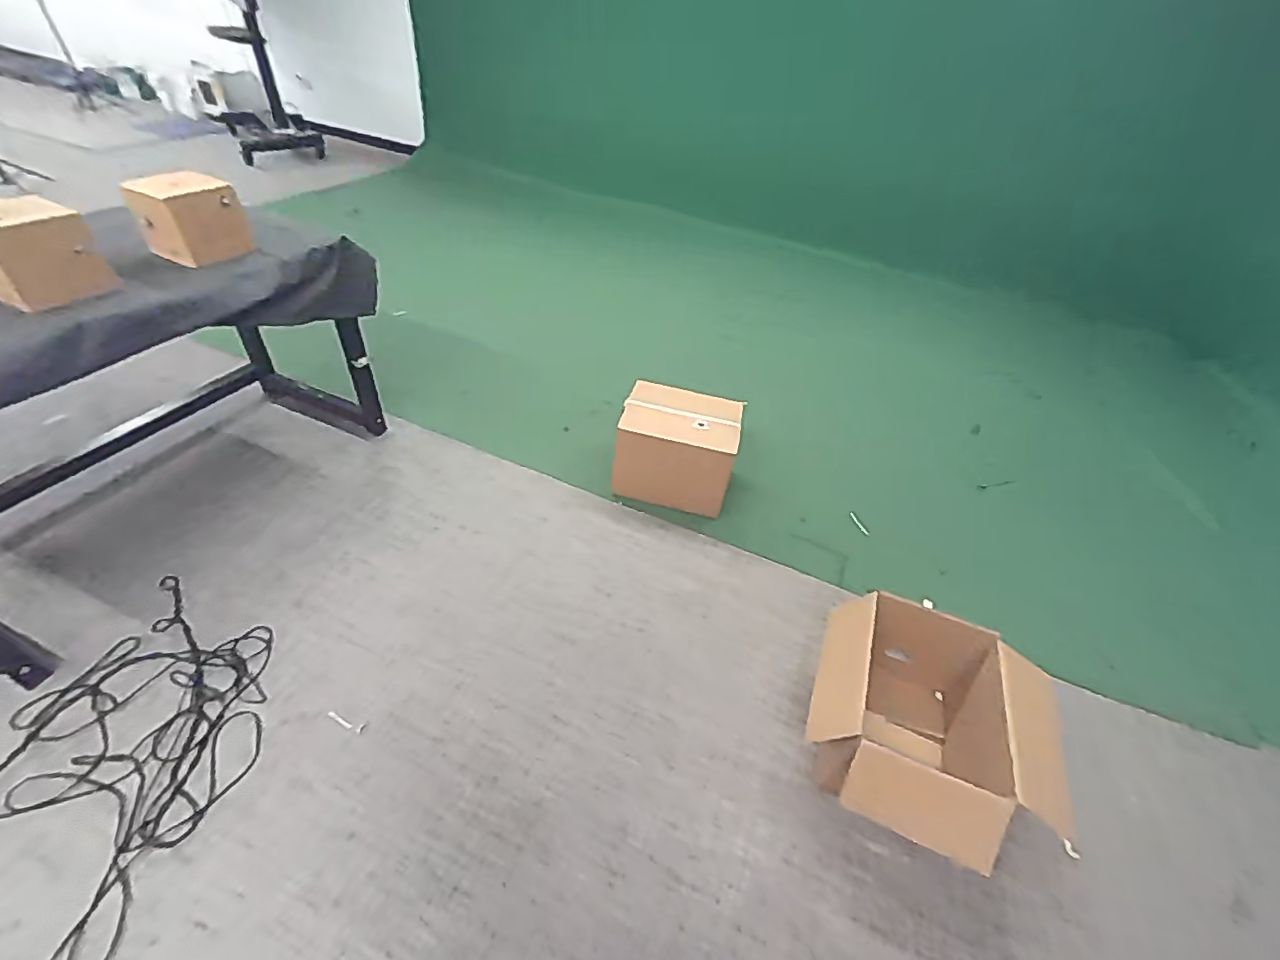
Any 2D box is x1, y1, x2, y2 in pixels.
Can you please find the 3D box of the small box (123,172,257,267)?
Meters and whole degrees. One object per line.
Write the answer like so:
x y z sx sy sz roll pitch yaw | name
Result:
-1.137 -0.666 1.384 0.168 0.176 0.179 22 44 15 | small box
